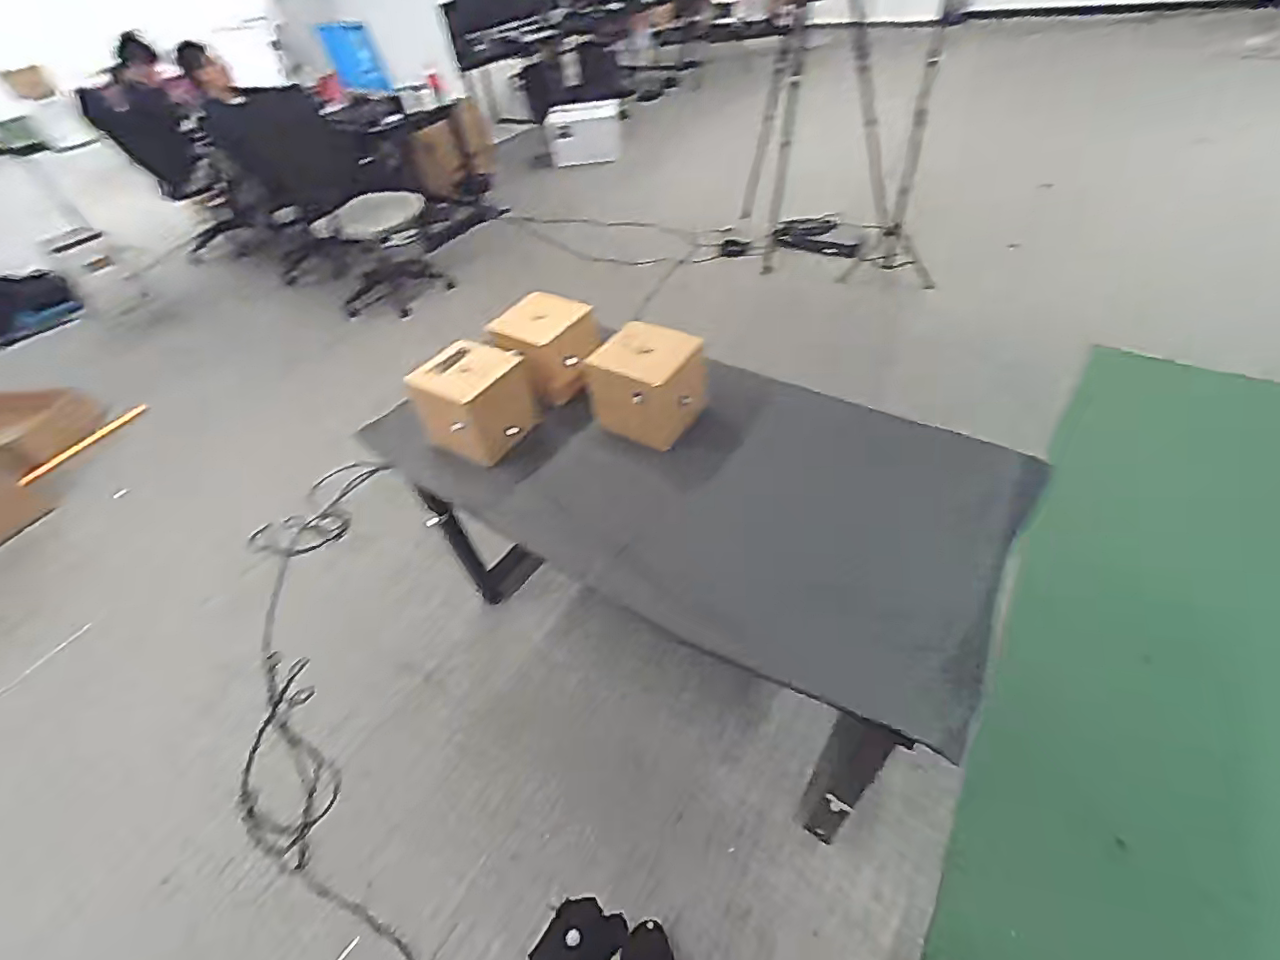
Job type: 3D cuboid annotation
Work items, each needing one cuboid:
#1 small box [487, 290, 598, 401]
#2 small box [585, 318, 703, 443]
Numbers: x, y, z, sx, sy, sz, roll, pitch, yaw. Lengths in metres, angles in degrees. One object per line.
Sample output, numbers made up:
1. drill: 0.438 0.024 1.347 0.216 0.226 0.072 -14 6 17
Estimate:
1. small box: -0.210 -0.305 1.236 0.179 0.176 0.168 22 54 27
2. small box: 0.017 -0.199 1.098 0.179 0.176 0.168 23 54 27
